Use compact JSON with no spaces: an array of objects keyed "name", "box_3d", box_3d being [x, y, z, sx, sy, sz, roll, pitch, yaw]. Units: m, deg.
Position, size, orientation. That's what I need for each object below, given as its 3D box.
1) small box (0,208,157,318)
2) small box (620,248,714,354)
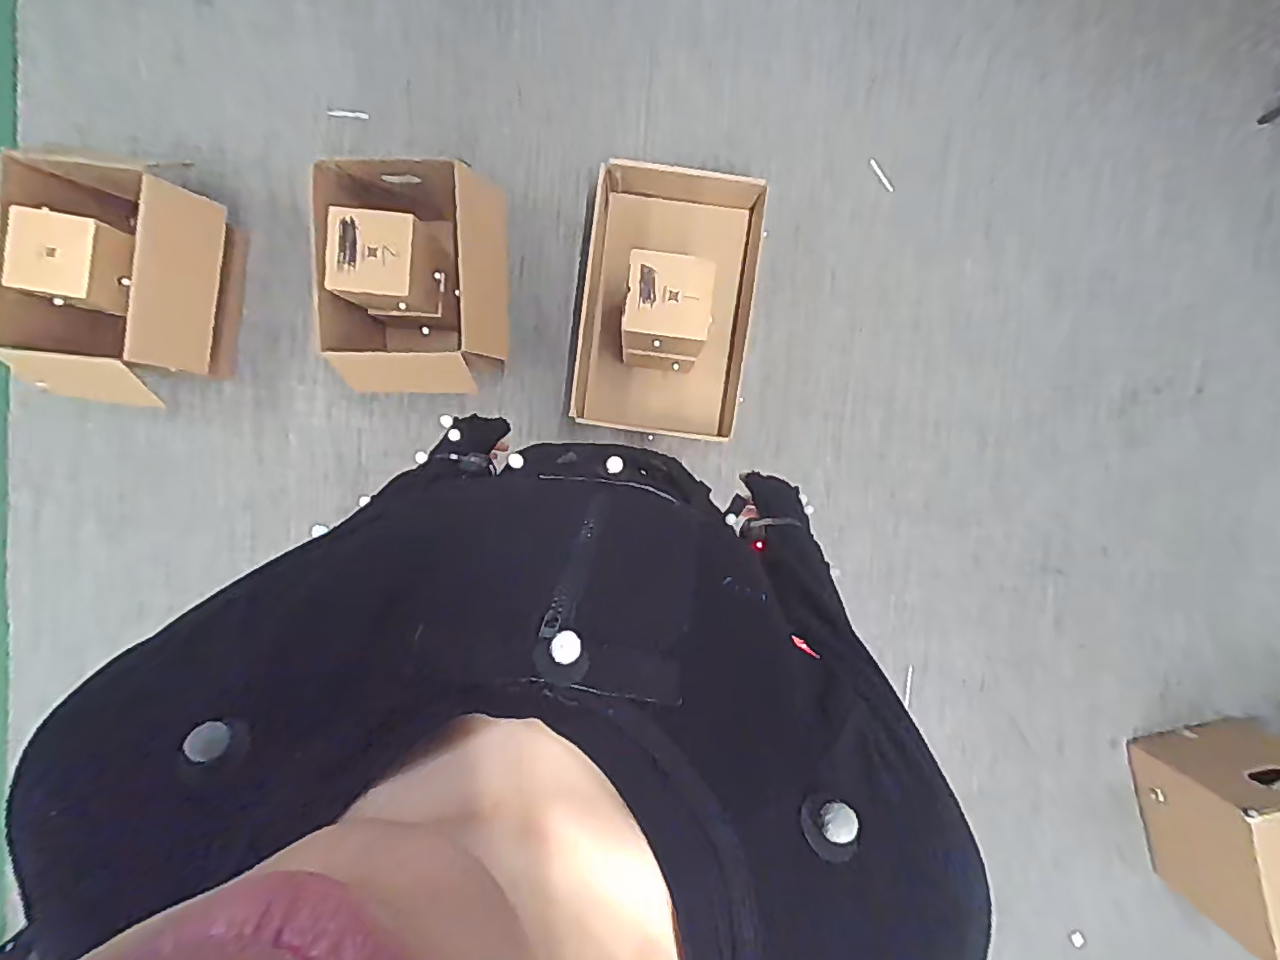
[{"name":"small box","box_3d":[-1.214,-0.463,1.180,0.179,0.176,0.168,9,92,-2]},{"name":"small box","box_3d":[0.052,-0.376,1.162,0.179,0.176,0.168,6,91,-2]}]
